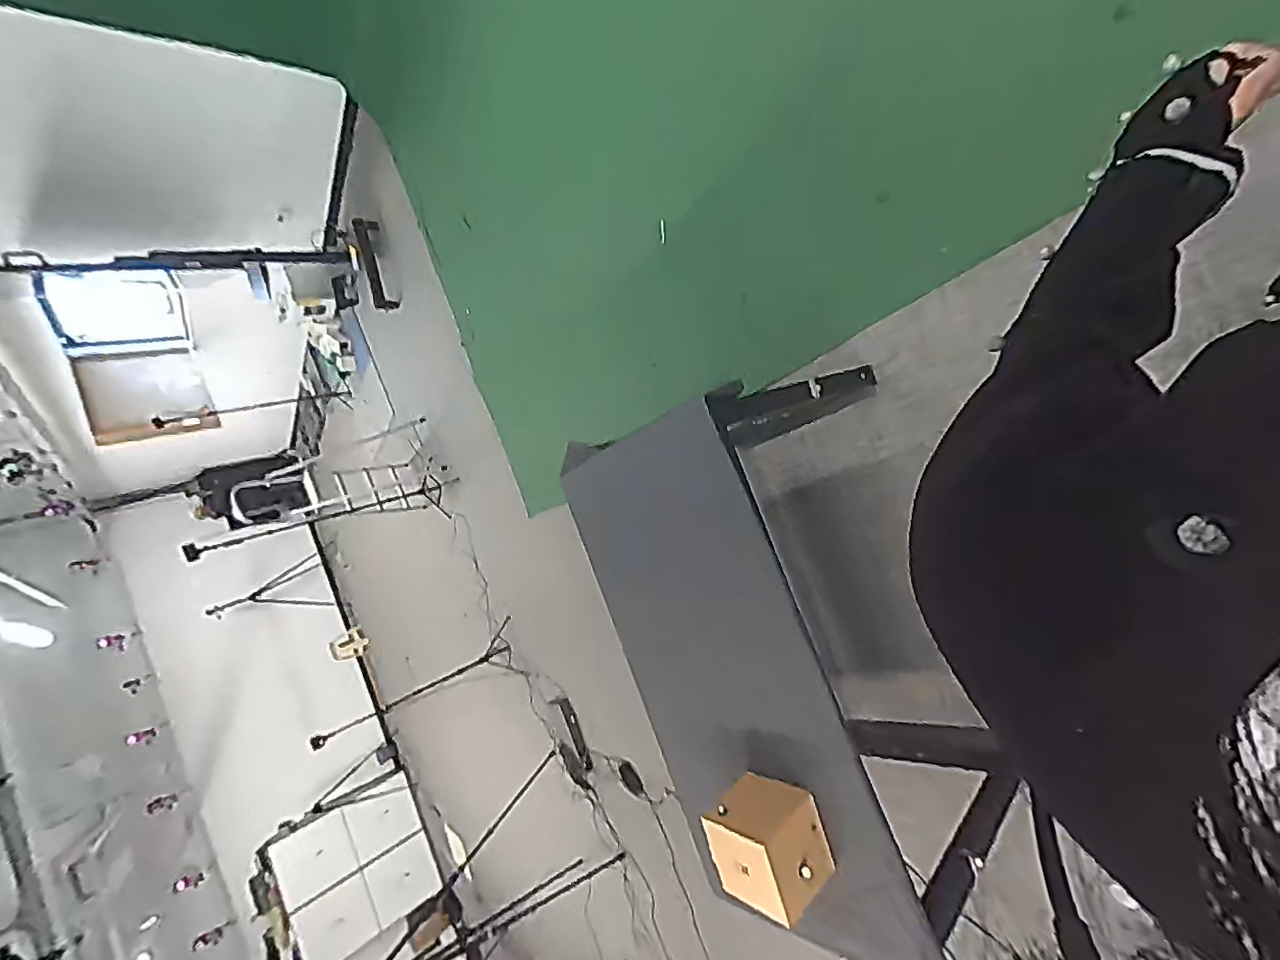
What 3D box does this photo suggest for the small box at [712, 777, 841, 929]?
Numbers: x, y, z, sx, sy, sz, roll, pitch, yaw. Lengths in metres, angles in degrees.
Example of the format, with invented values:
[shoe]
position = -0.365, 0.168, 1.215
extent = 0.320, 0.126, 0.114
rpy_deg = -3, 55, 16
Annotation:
[small box]
position = 0.285, 0.745, 1.105
extent = 0.179, 0.176, 0.168
rpy_deg = -19, 89, 53
